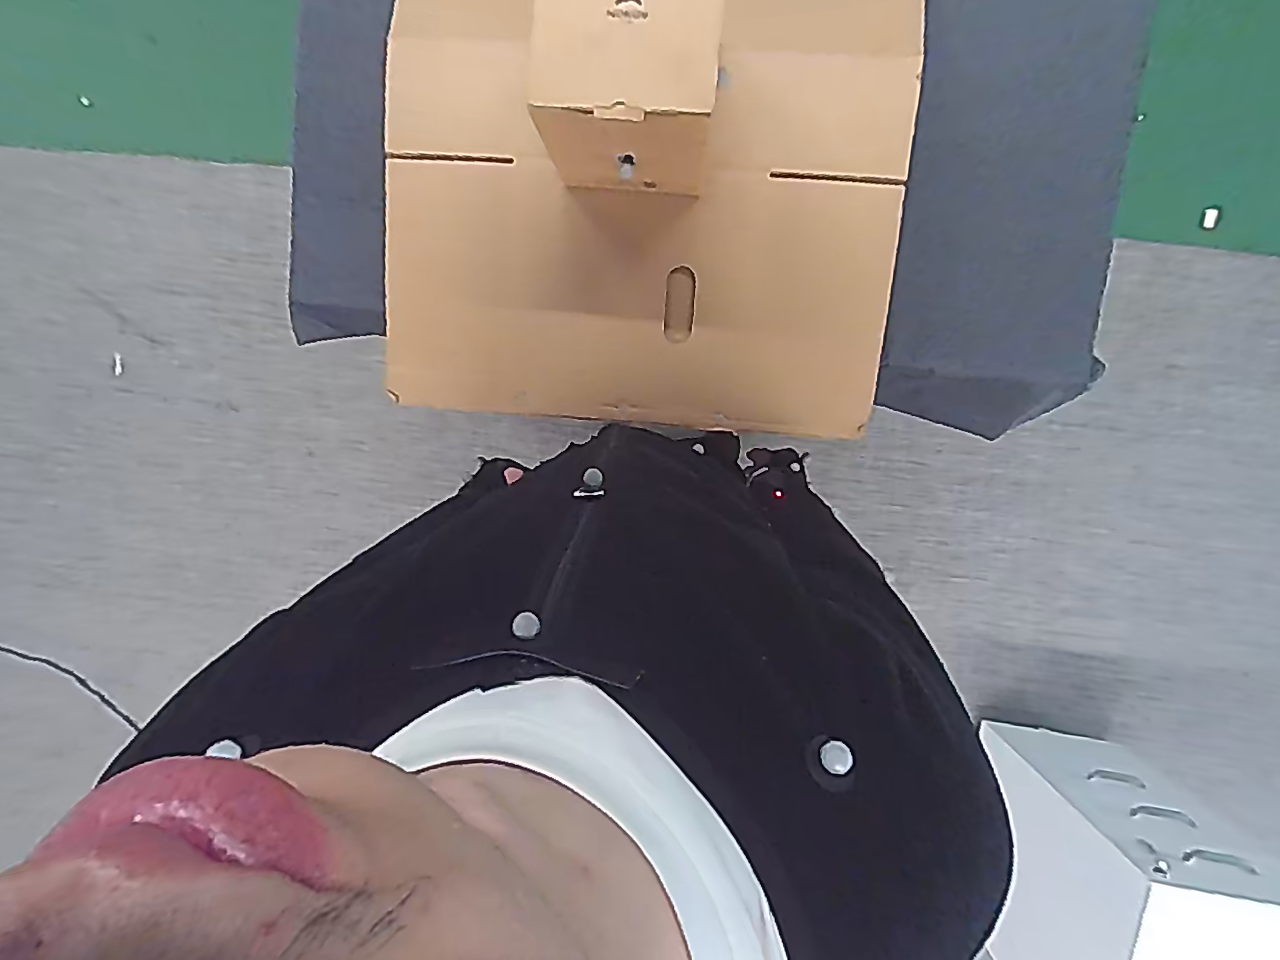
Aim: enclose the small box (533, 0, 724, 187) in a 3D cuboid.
[{"bbox_3d":[-0.003,-0.416,0.541,0.168,0.176,0.179,3,97,3],"label":"small box"}]
